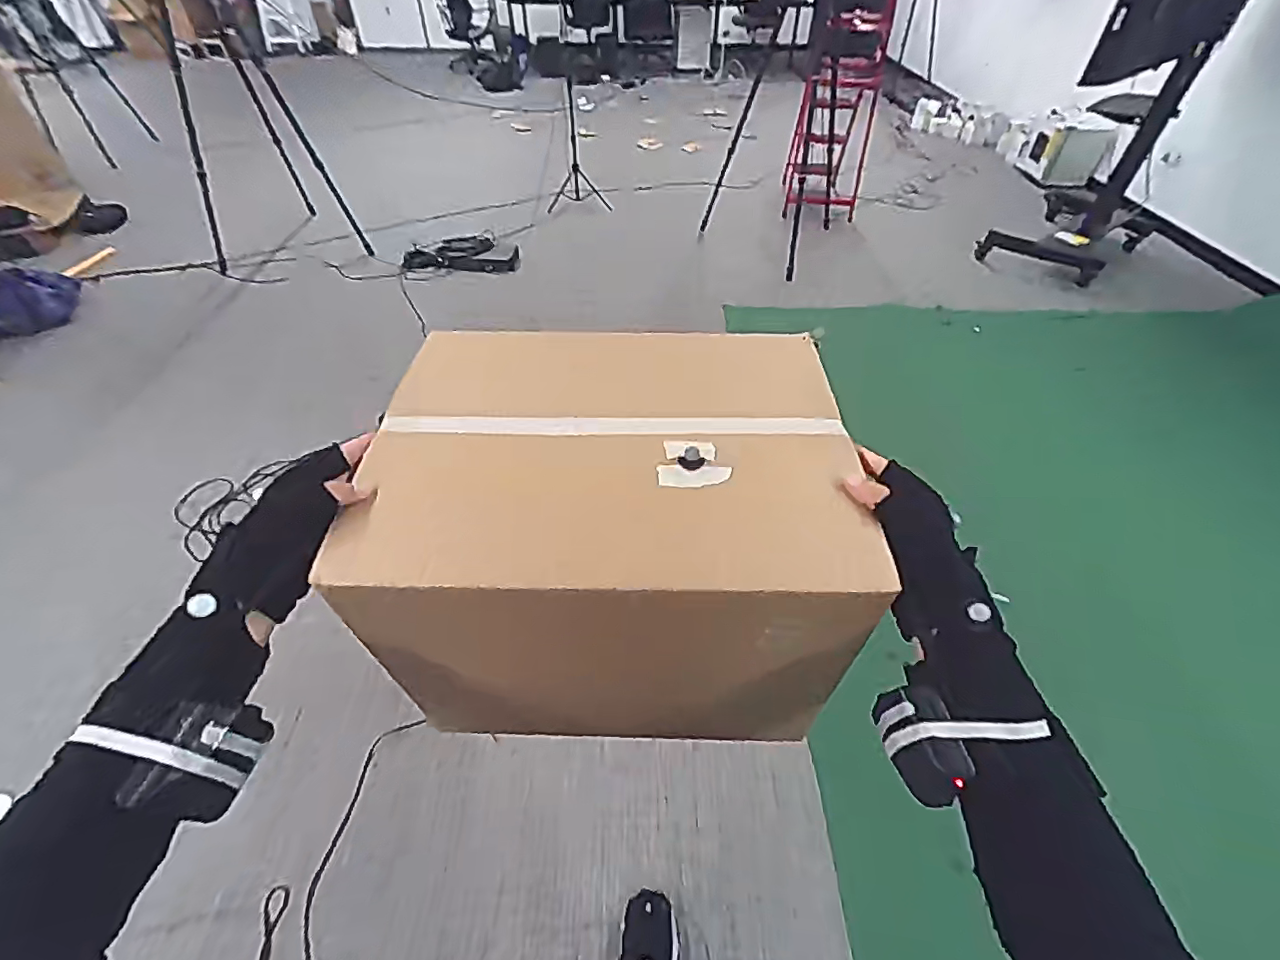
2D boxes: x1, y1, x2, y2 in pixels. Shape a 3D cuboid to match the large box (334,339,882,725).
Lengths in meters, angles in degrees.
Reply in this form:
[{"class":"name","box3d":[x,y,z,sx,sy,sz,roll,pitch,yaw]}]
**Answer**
[{"class":"large box","box3d":[-0.024,0.059,0.594,0.408,0.320,0.320,1,48,0]}]
